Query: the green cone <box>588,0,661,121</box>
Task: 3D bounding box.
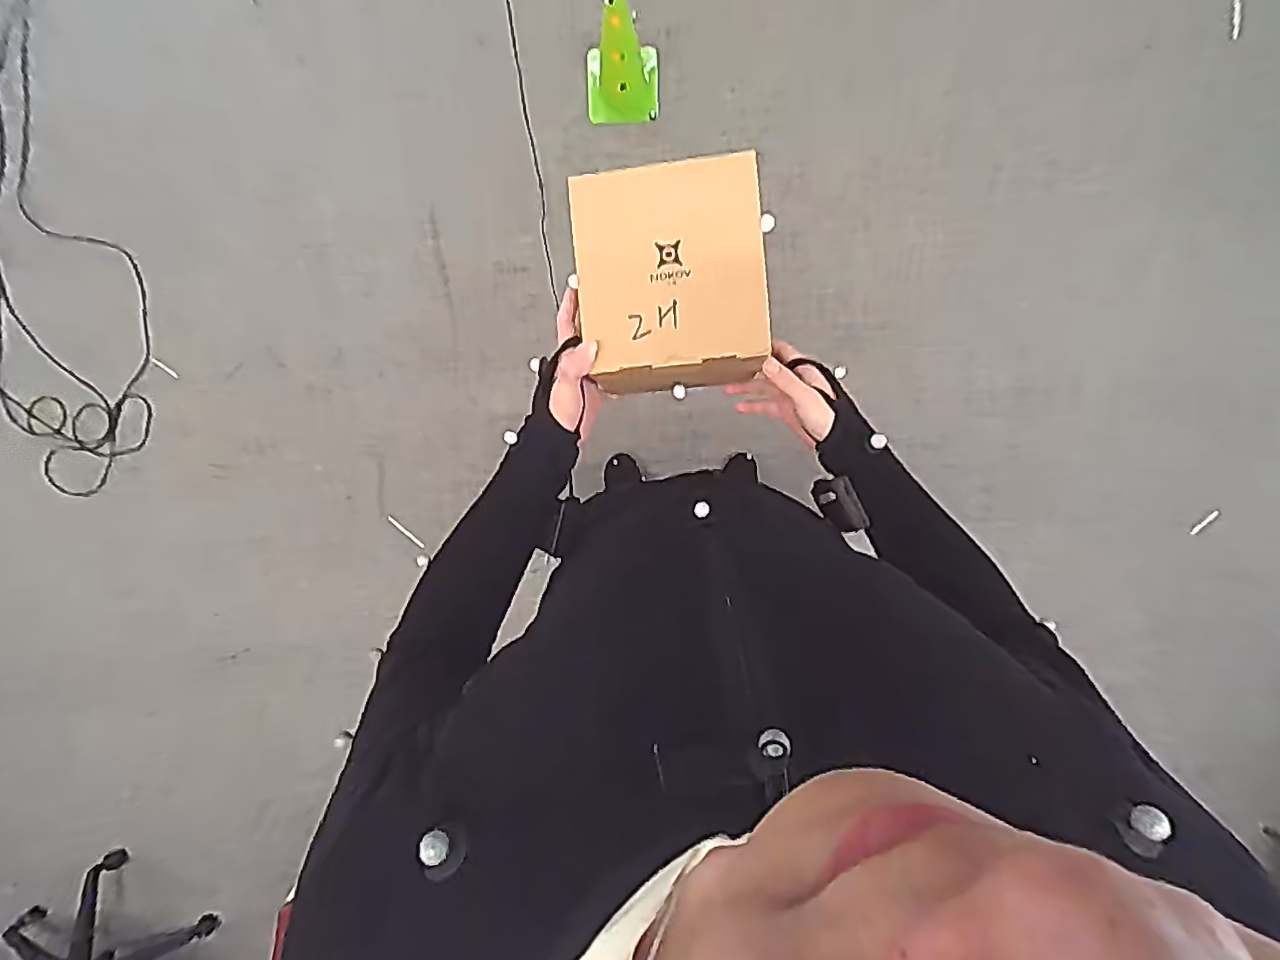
[{"bbox_3d":[-0.052,-1.111,1.349,0.202,0.368,0.200,-2,93,3],"label":"green cone"}]
